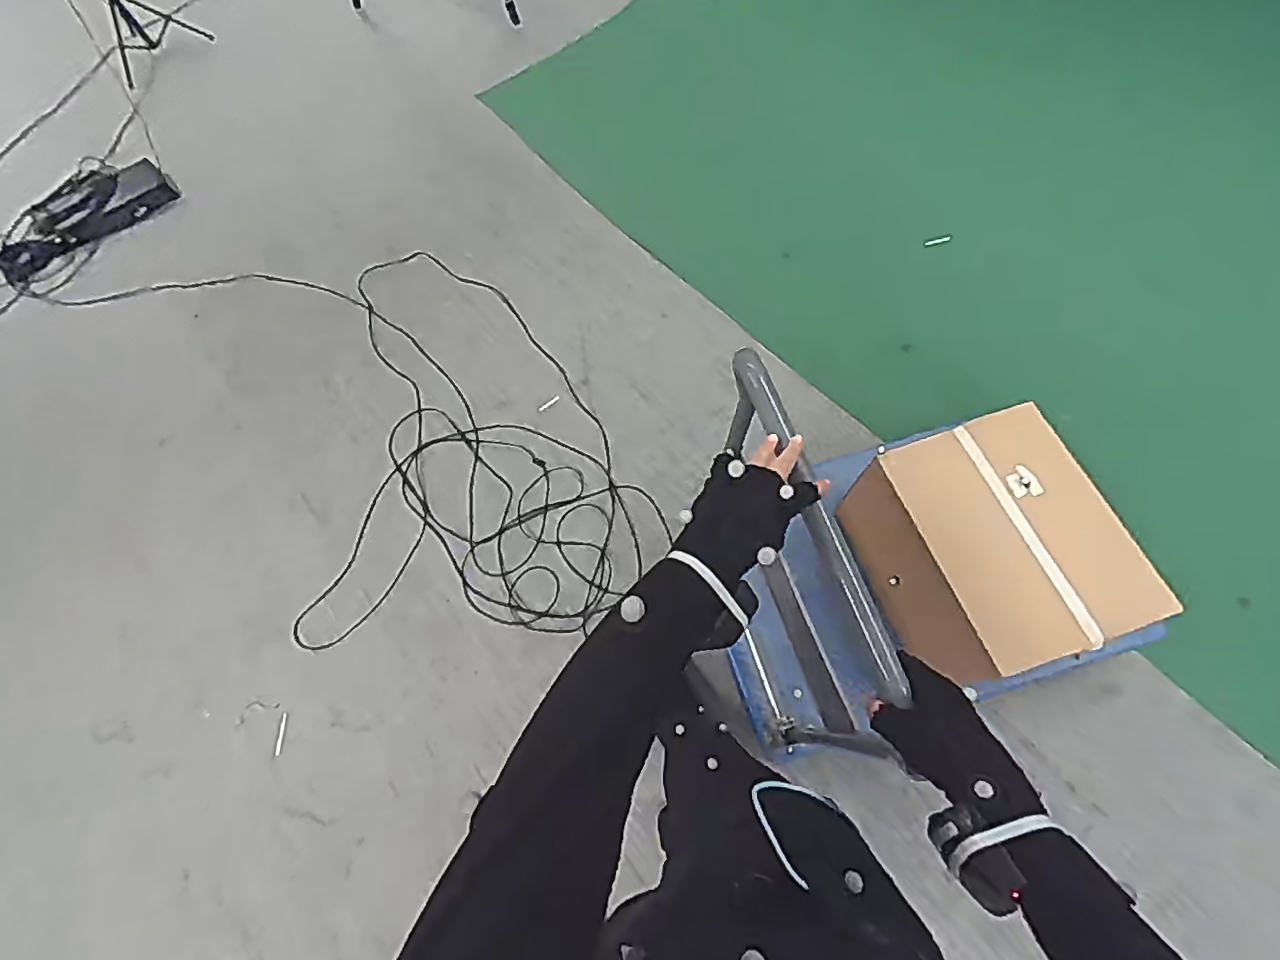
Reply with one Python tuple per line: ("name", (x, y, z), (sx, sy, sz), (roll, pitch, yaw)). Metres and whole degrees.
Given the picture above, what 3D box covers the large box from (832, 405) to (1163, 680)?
("large box", (0.636, 0.135, 1.058), (0.320, 0.320, 0.408), (-18, 67, -4))
